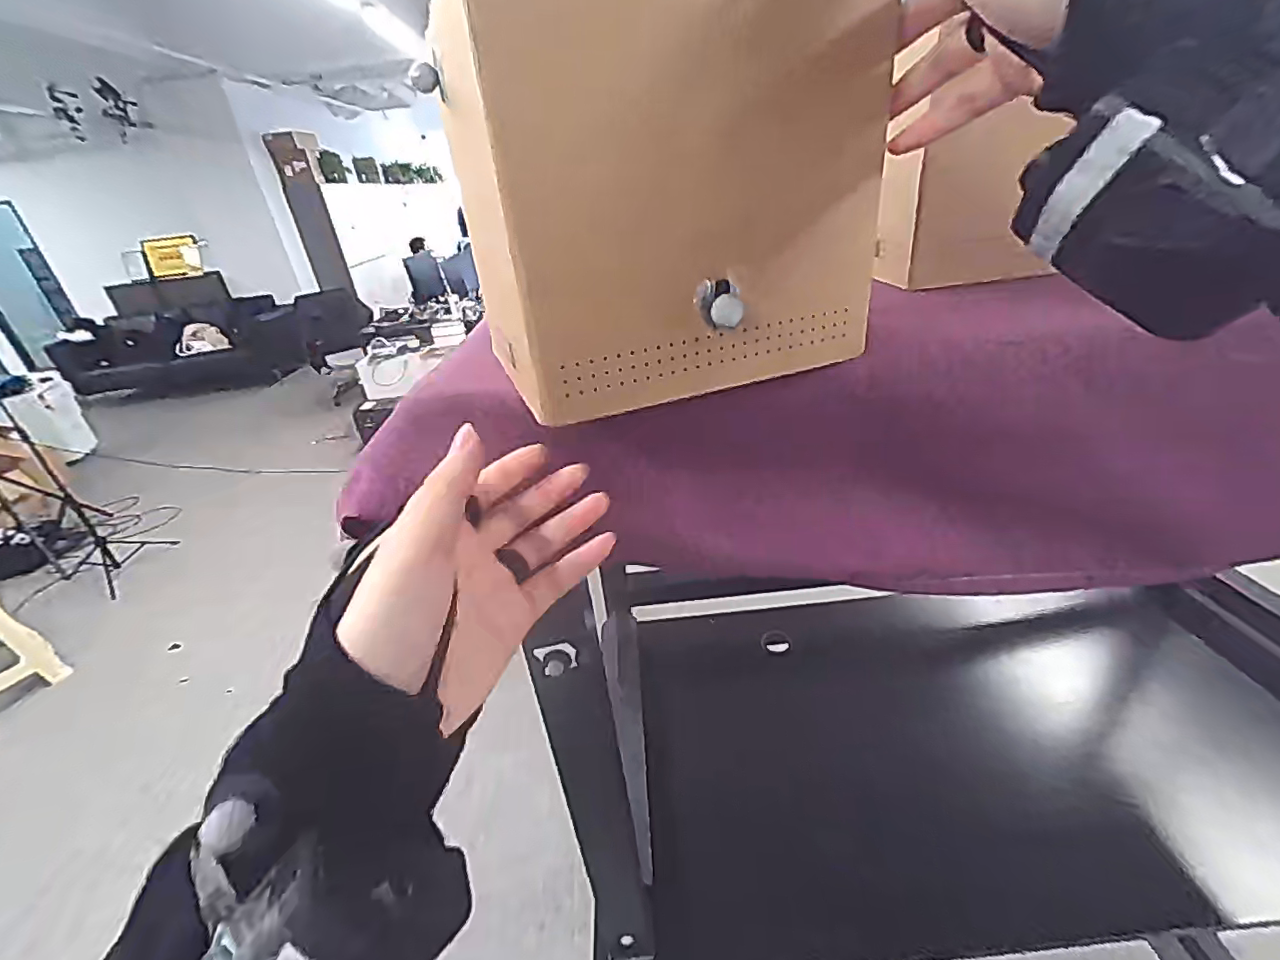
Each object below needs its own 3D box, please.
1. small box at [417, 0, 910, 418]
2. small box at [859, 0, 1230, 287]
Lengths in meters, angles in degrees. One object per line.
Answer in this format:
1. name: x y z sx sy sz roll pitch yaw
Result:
1. small box: -0.001 -0.148 0.277 0.179 0.176 0.168 -15 30 -16
2. small box: 0.269 -0.259 0.423 0.179 0.176 0.168 -7 28 1
